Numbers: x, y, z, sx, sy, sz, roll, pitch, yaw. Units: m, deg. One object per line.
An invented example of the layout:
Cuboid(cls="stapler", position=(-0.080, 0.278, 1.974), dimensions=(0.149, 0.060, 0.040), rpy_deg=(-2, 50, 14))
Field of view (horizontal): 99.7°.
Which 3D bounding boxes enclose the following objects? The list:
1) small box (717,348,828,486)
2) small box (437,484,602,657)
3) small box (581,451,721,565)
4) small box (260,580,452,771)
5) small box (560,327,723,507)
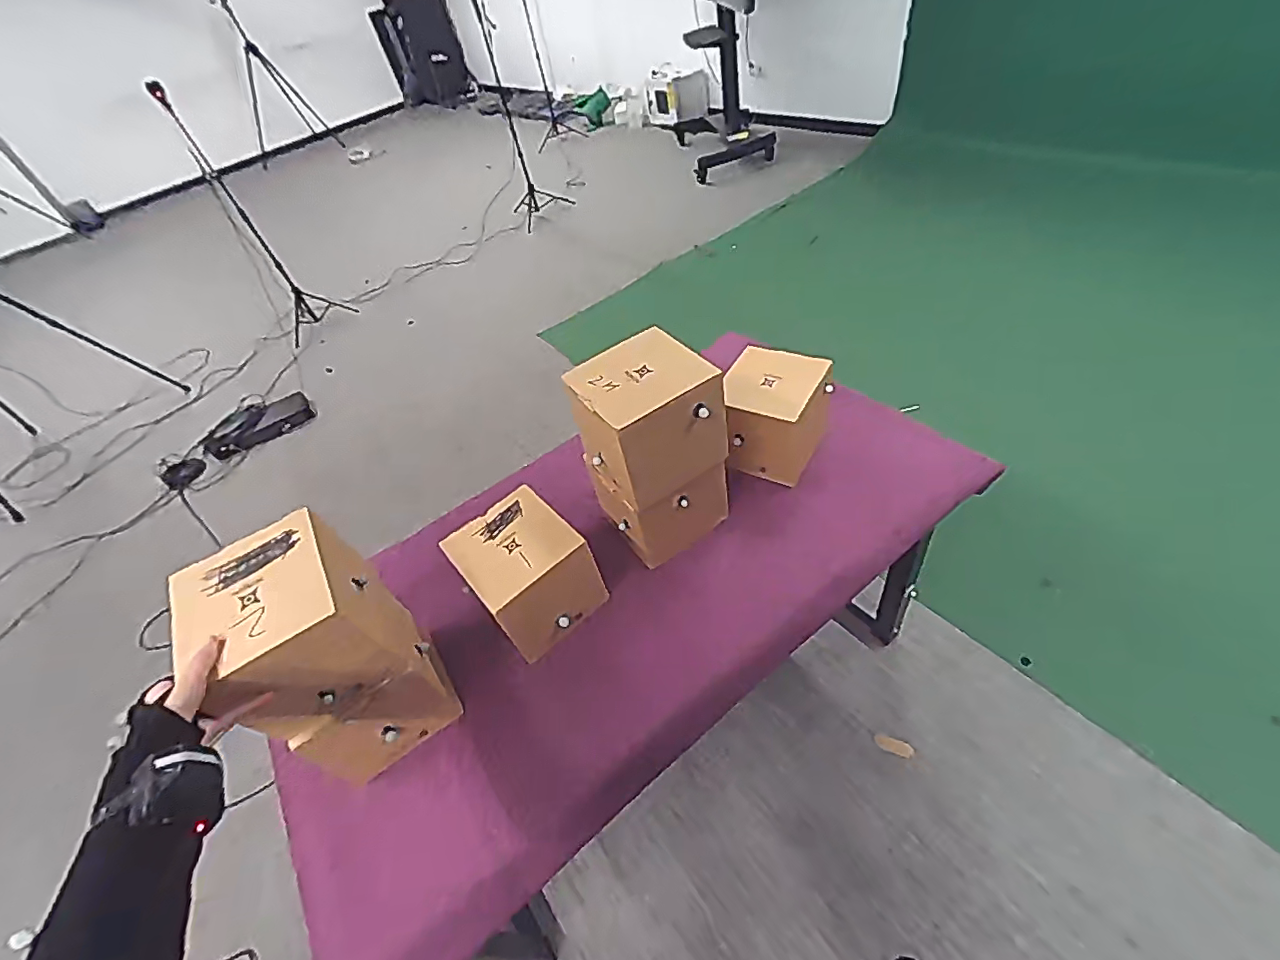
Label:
Cuboid(cls="small box", position=(0.237, -0.116, 1.009), dimensions=(0.168, 0.176, 0.179), rpy_deg=(20, 55, 29))
Cuboid(cls="small box", position=(-0.185, 0.145, 0.859), dimensions=(0.168, 0.176, 0.179), rpy_deg=(-37, 51, -21))
Cuboid(cls="small box", position=(0.026, 0.015, 0.936), dimensions=(0.179, 0.176, 0.168), rpy_deg=(-31, 49, -16))
Cuboid(cls="small box", position=(-0.398, 0.286, 0.776), dimensions=(0.168, 0.176, 0.179), rpy_deg=(-32, 50, -17))
Cuboid(cls="small box", position=(0.008, -0.094, 0.813), dimensions=(0.179, 0.176, 0.168), rpy_deg=(-30, 48, -15))
